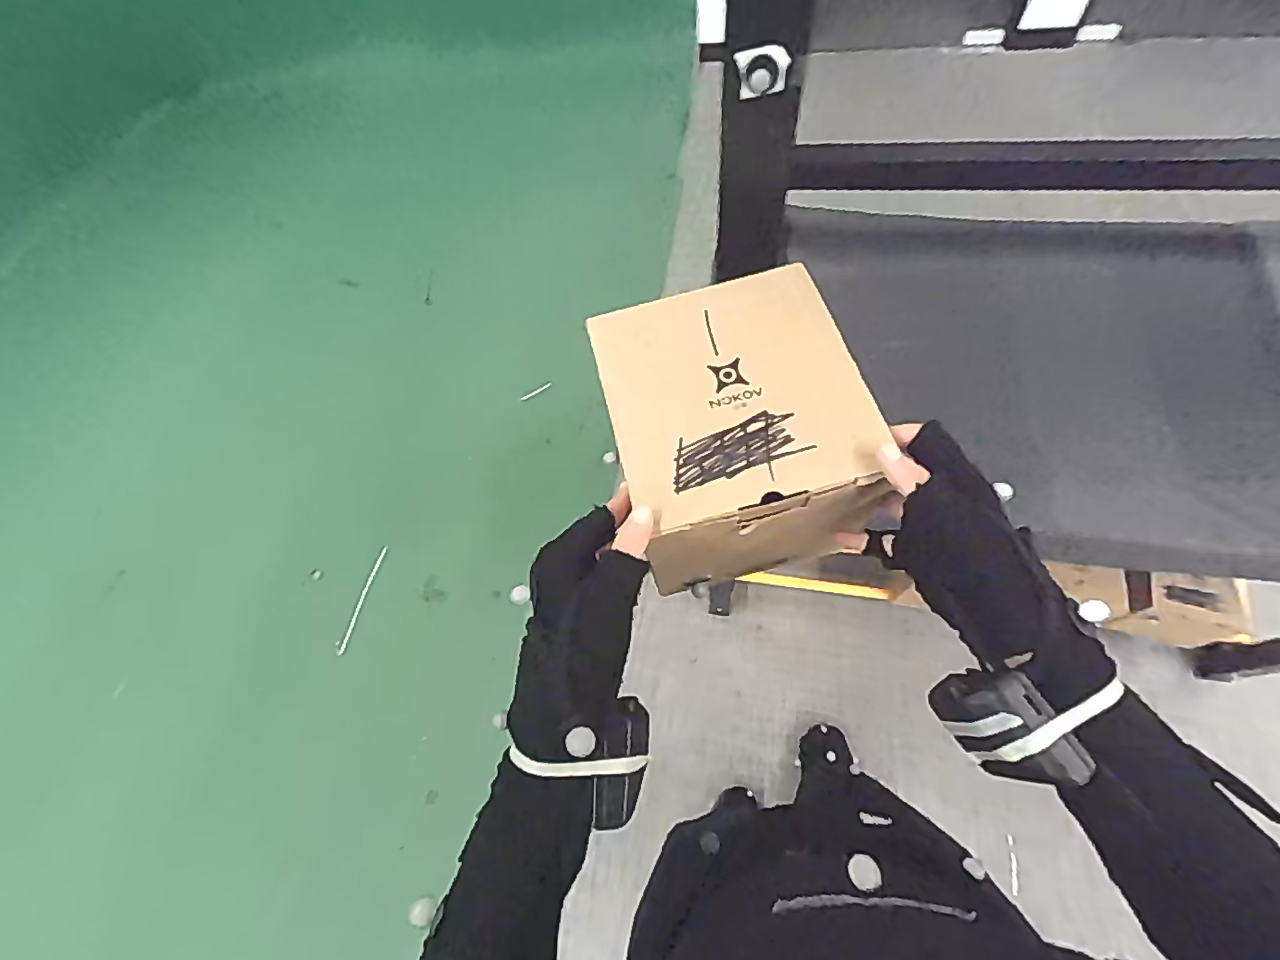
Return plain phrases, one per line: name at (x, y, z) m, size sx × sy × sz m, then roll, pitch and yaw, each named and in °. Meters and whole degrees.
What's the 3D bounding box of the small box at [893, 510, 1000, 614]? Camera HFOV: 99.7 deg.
small box at (0.687, 0.190, 1.230) m, size 0.168 × 0.176 × 0.179 m, roll 7°, pitch 66°, yaw 11°
